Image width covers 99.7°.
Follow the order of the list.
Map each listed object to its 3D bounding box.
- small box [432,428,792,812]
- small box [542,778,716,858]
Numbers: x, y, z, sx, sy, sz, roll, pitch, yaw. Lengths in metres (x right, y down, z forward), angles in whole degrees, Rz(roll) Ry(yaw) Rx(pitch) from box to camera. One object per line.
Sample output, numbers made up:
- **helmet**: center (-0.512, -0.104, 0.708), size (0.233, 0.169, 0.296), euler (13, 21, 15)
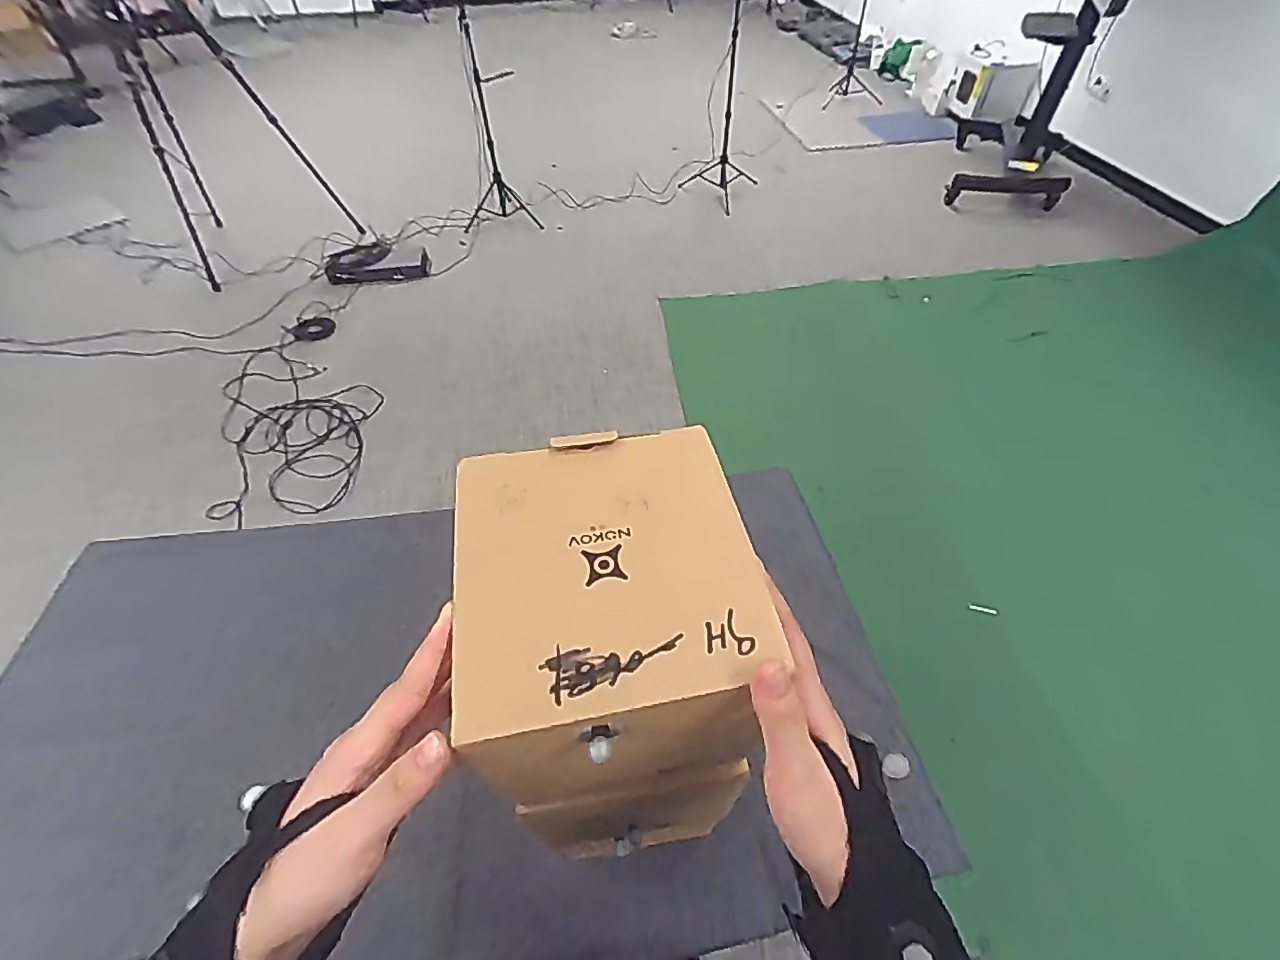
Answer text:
- **small box**: center (-0.024, 0.093, 0.354), size (0.168, 0.176, 0.179), euler (-8, 52, -6)
- **small box**: center (-0.017, 0.306, 0.608), size (0.168, 0.176, 0.179), euler (-8, 49, -5)
